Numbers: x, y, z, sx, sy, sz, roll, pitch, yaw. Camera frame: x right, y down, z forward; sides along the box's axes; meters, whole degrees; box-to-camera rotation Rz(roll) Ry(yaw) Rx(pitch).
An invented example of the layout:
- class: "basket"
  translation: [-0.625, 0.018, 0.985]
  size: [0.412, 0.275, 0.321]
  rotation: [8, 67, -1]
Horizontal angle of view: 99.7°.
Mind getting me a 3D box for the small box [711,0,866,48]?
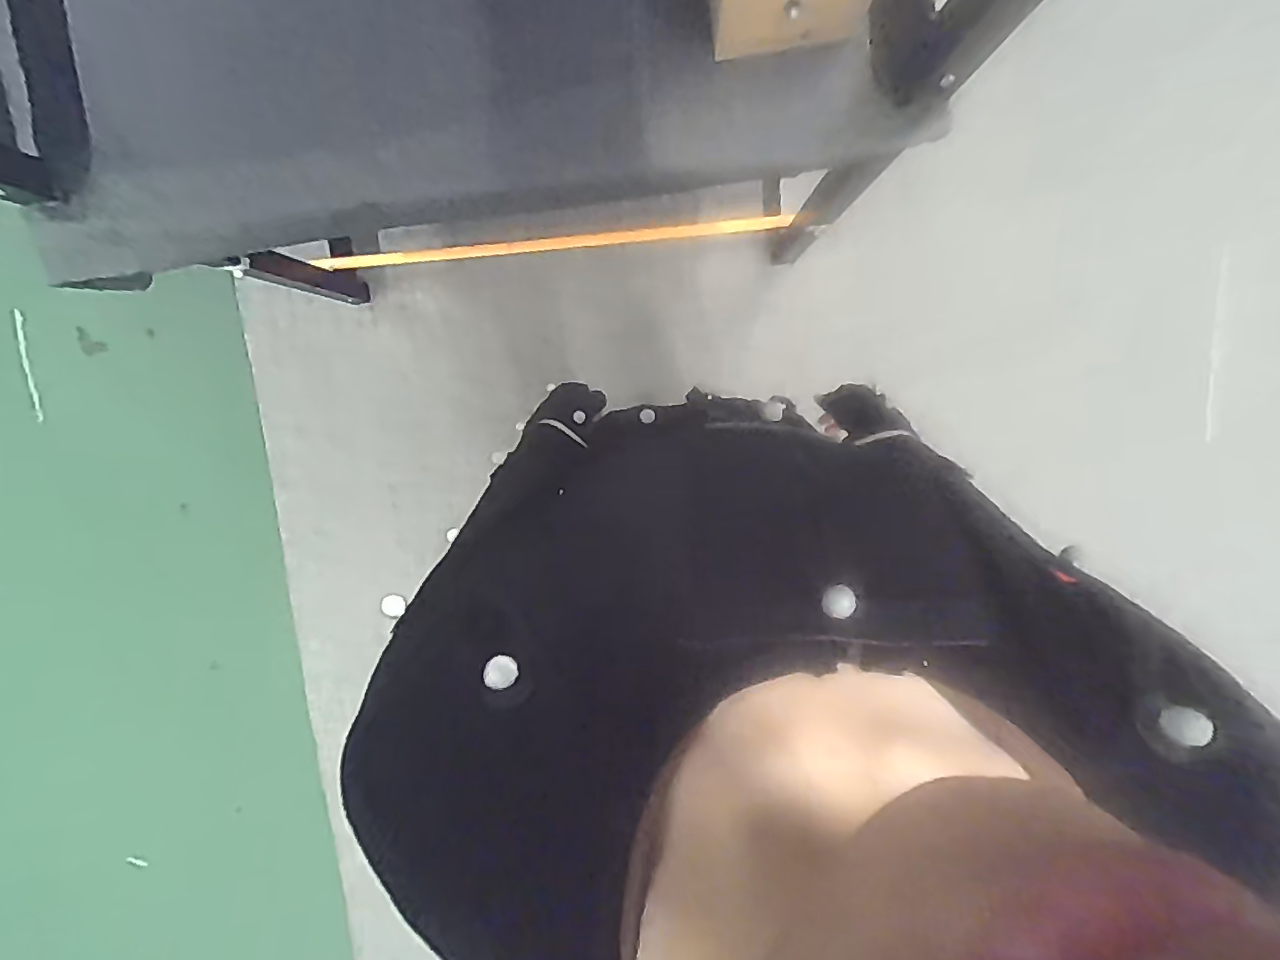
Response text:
- class: "small box"
  translation: [0.160, -0.588, 0.557]
  size: [0.168, 0.176, 0.179]
  rotation: [-5, 99, 4]
